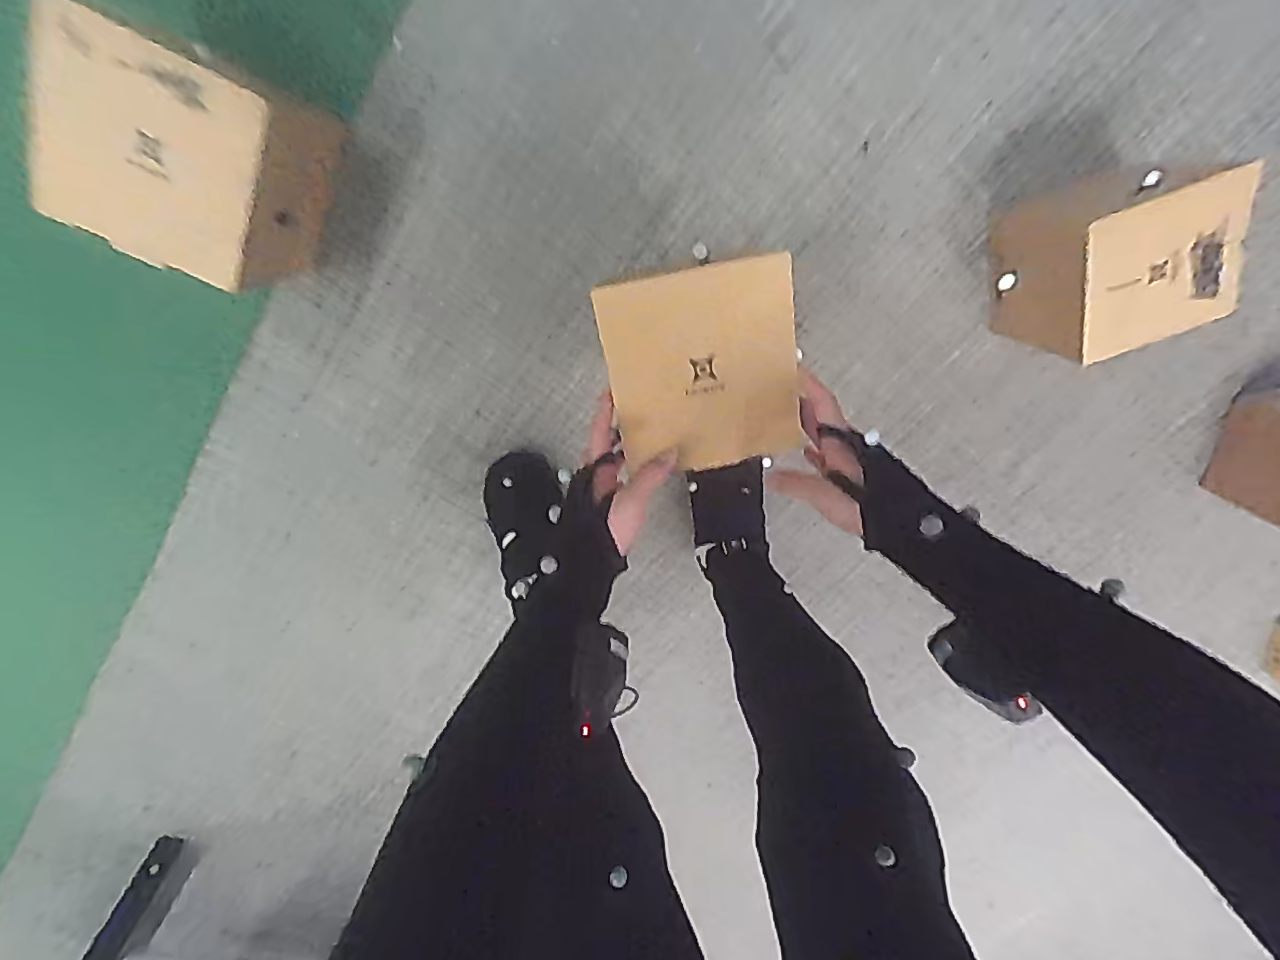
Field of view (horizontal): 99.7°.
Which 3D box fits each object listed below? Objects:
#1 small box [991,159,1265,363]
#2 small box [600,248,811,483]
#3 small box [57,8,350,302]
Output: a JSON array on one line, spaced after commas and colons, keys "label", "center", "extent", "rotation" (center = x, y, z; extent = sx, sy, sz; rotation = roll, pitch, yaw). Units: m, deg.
[{"label": "small box", "center": [0.569, -0.270, 0.660], "extent": [0.179, 0.176, 0.168], "rotation": [-20, 118, 6]}, {"label": "small box", "center": [0.056, -0.122, 0.535], "extent": [0.168, 0.176, 0.179], "rotation": [-12, 116, 2]}, {"label": "small box", "center": [-0.422, -0.310, 0.548], "extent": [0.168, 0.176, 0.179], "rotation": [21, 114, -16]}]
